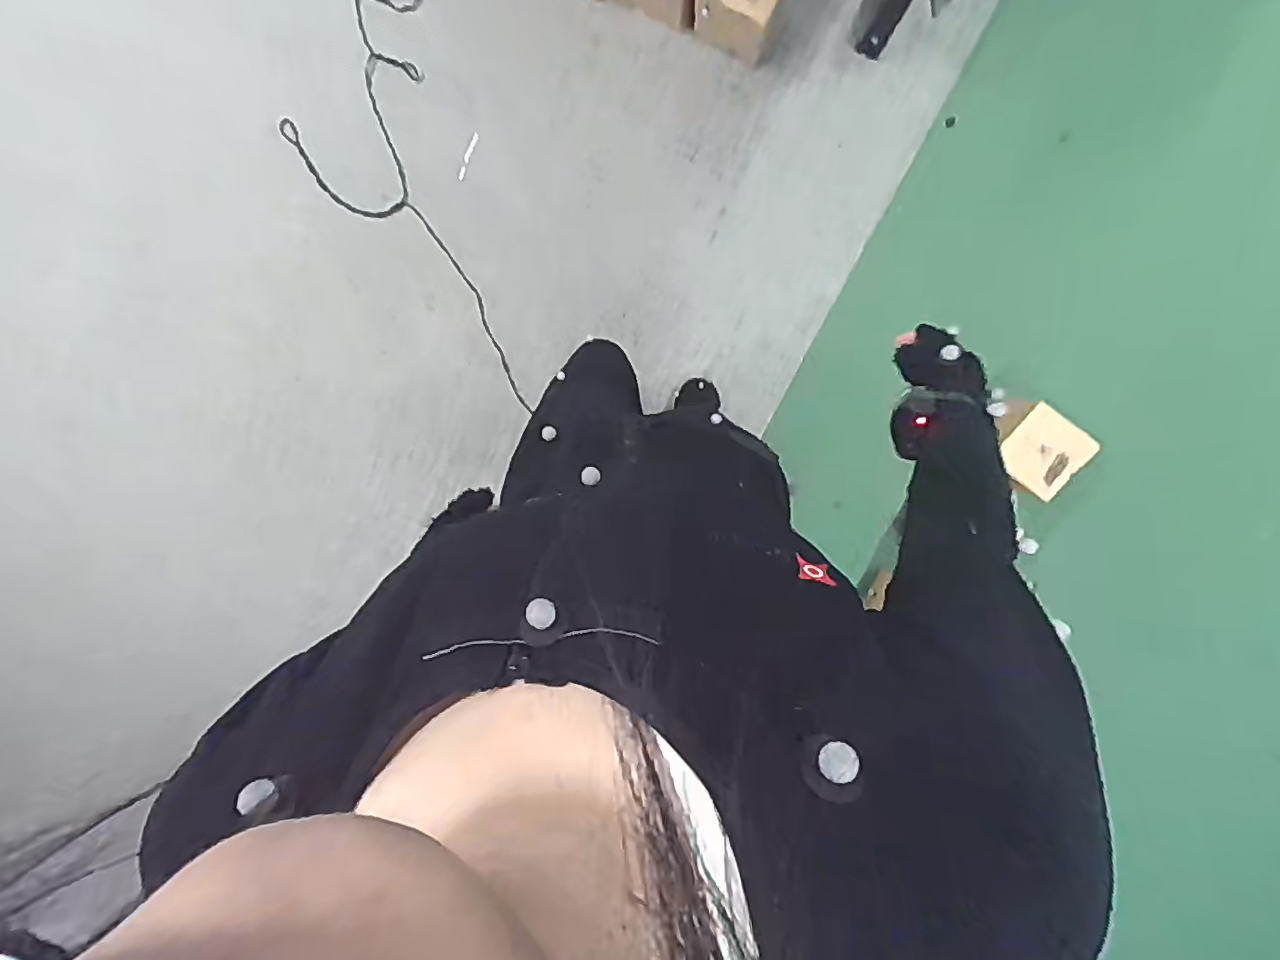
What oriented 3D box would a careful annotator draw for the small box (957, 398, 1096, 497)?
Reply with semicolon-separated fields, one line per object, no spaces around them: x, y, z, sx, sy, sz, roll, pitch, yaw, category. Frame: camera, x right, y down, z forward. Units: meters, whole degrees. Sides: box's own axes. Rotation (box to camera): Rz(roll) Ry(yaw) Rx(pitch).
0.923;-0.088;1.310;0.179;0.176;0.168;37;101;-3;small box
